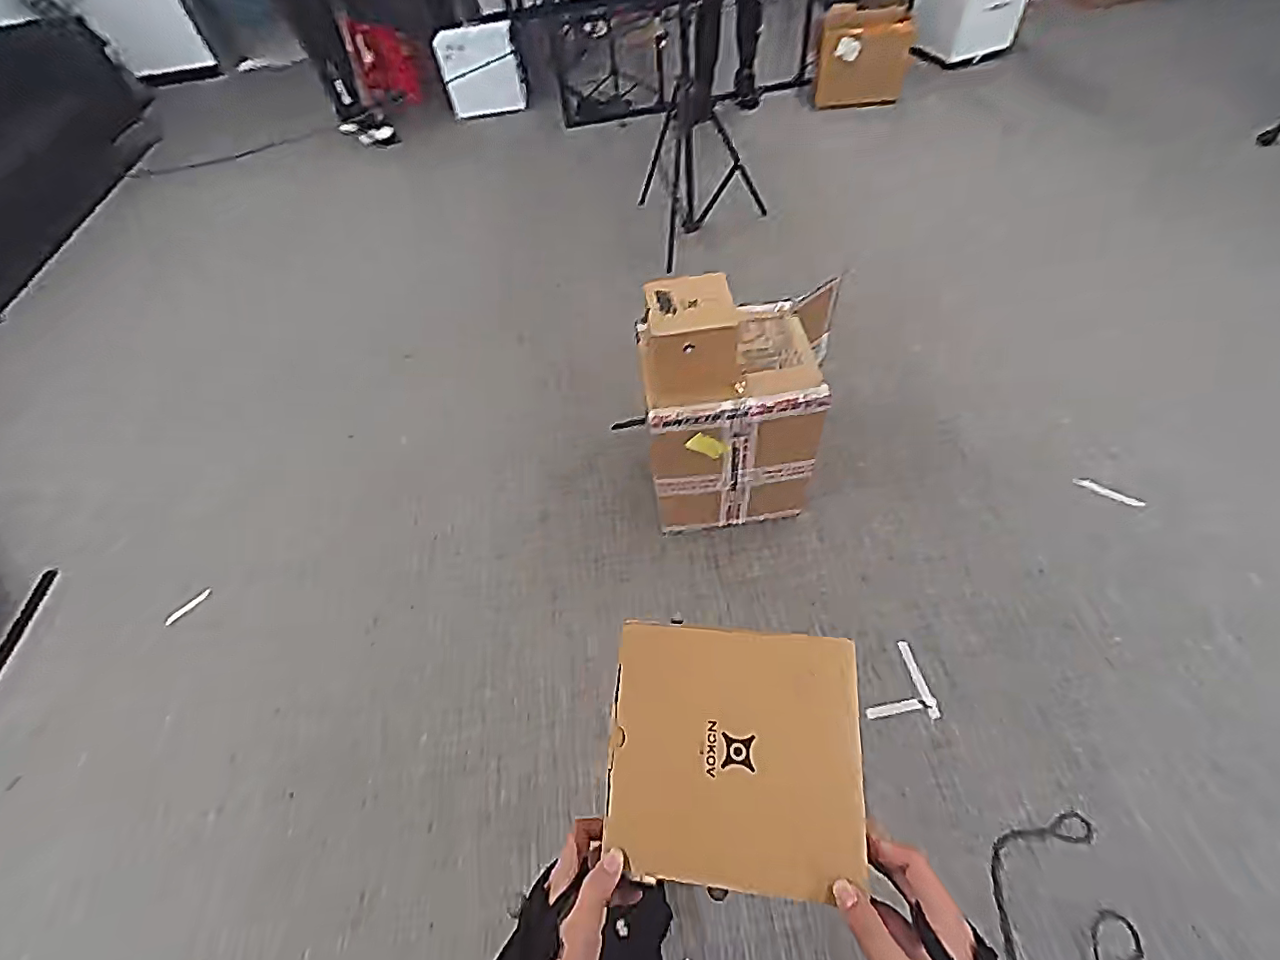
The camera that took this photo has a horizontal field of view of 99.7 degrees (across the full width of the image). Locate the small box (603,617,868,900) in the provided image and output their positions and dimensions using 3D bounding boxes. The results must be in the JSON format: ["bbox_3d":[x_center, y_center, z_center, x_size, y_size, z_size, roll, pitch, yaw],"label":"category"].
[{"bbox_3d":[0.081,0.216,0.458,0.179,0.176,0.168,1,68,12],"label":"small box"}]

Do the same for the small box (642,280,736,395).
[{"bbox_3d":[0.104,-0.300,1.164,0.179,0.176,0.168,-7,56,2],"label":"small box"}]
